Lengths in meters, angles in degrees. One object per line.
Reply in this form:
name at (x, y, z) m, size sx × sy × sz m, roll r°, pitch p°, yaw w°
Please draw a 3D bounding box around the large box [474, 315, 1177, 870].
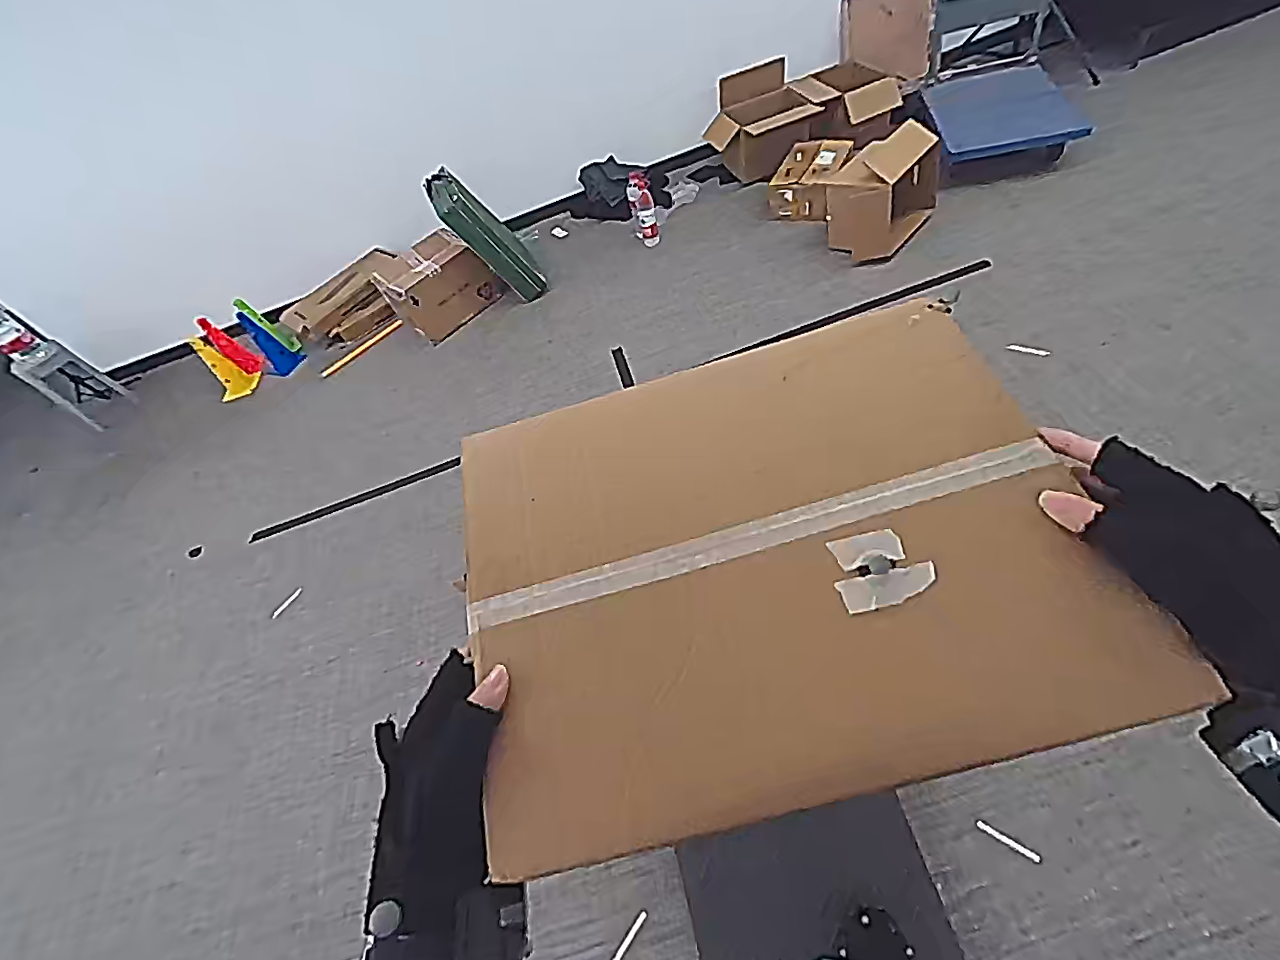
large box at (0.105, 0.116, 0.512) m, size 0.408 × 0.320 × 0.320 m, roll -17°, pitch 60°, yaw 3°
